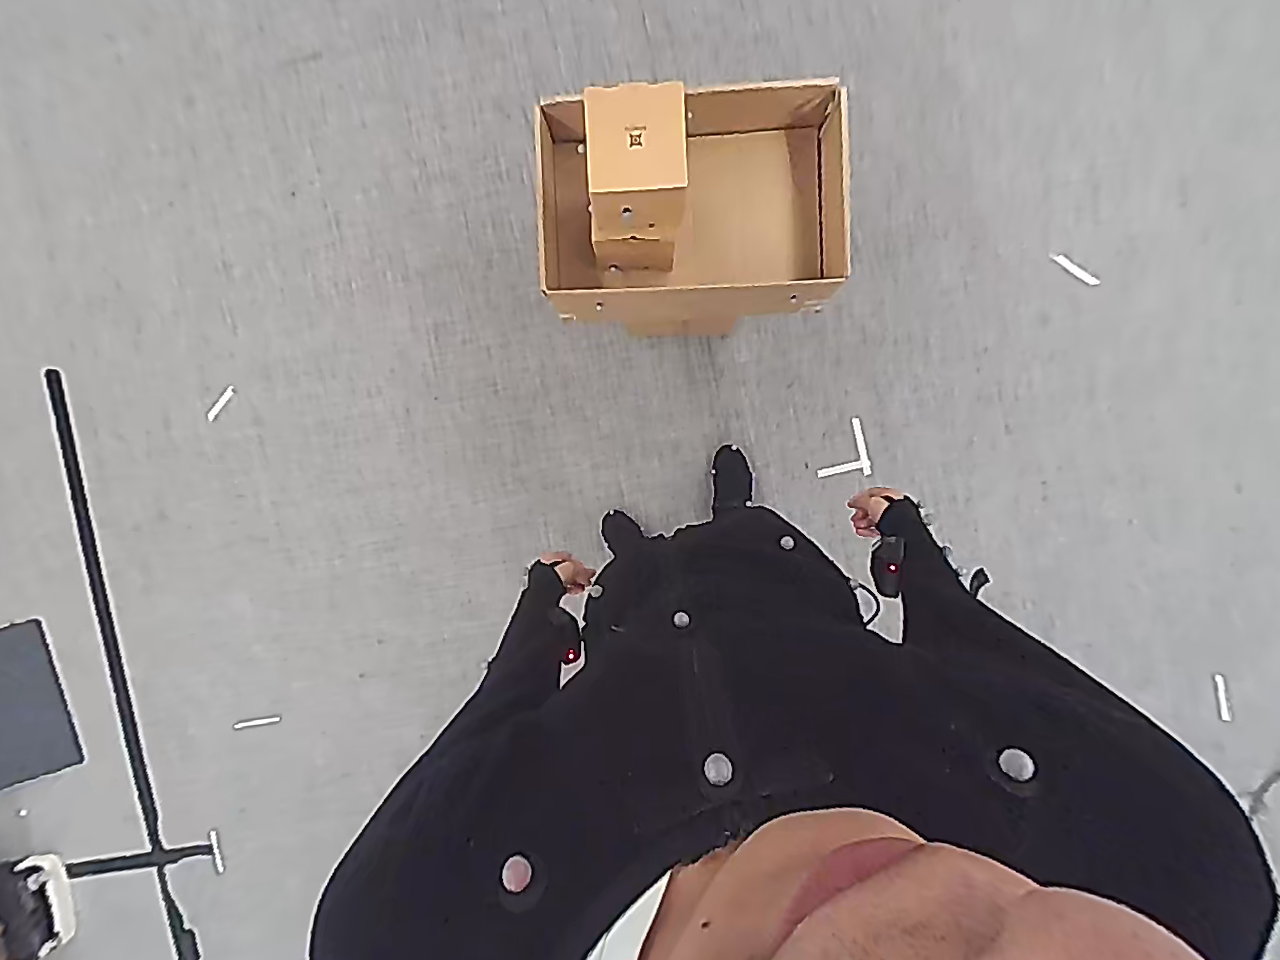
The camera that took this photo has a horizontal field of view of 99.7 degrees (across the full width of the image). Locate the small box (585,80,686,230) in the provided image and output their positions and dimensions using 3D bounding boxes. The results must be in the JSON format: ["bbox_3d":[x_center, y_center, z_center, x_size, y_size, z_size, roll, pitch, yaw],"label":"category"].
[{"bbox_3d":[-0.004,-0.562,0.962,0.168,0.176,0.179,-3,90,2],"label":"small box"}]

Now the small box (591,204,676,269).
[{"bbox_3d":[-0.008,-0.554,1.125,0.168,0.176,0.179,1,90,2],"label":"small box"}]
